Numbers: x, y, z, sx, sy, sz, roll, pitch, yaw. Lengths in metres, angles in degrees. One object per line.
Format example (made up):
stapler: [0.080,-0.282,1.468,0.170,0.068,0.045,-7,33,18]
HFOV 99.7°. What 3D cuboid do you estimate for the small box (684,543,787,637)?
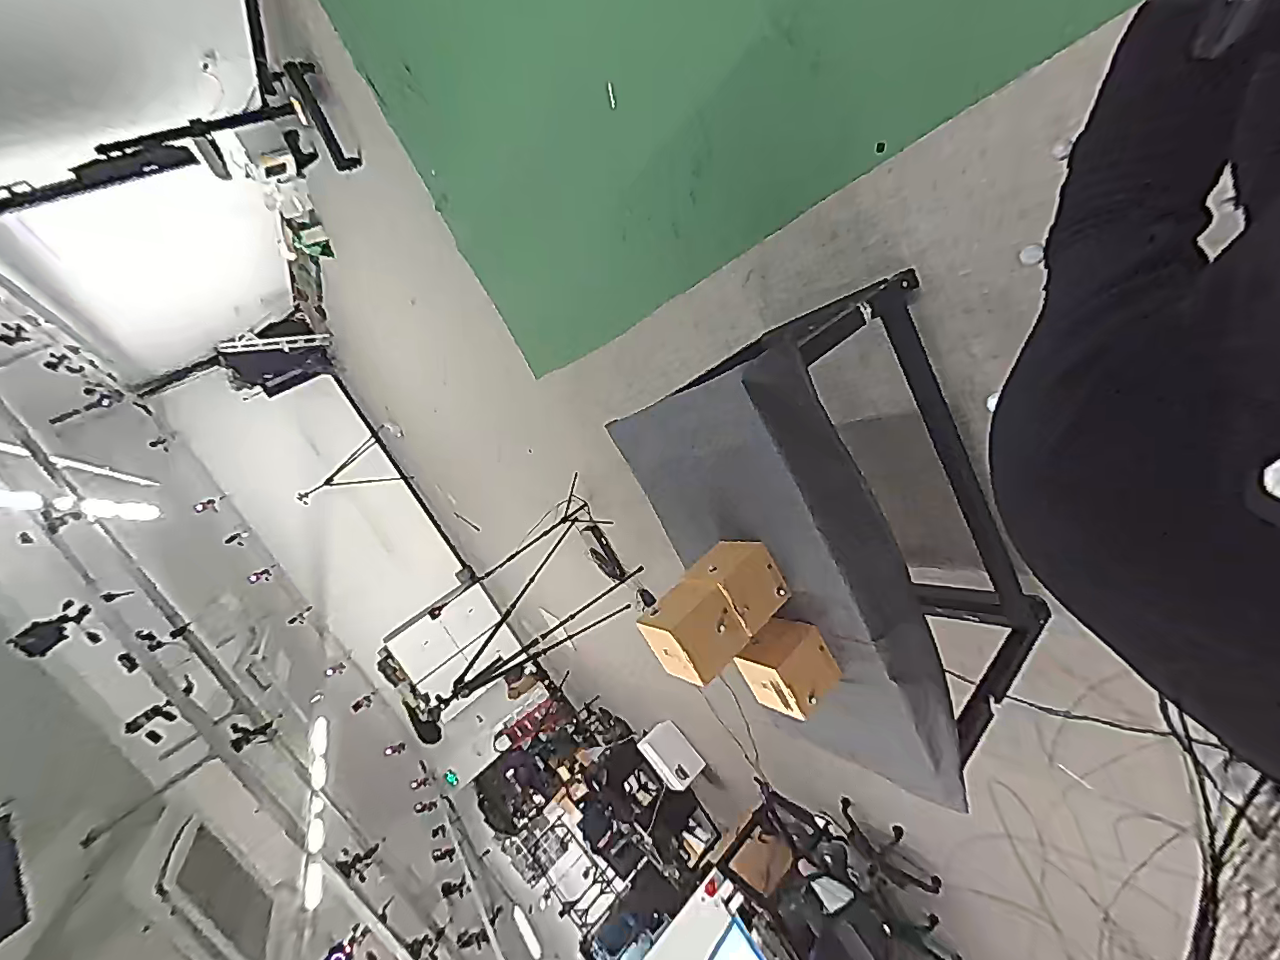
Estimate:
small box: [0.253,0.274,1.395,0.168,0.176,0.179,60,153,-11]

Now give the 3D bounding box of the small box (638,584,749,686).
small box: [0.133,0.371,1.335,0.168,0.176,0.179,59,152,-10]
